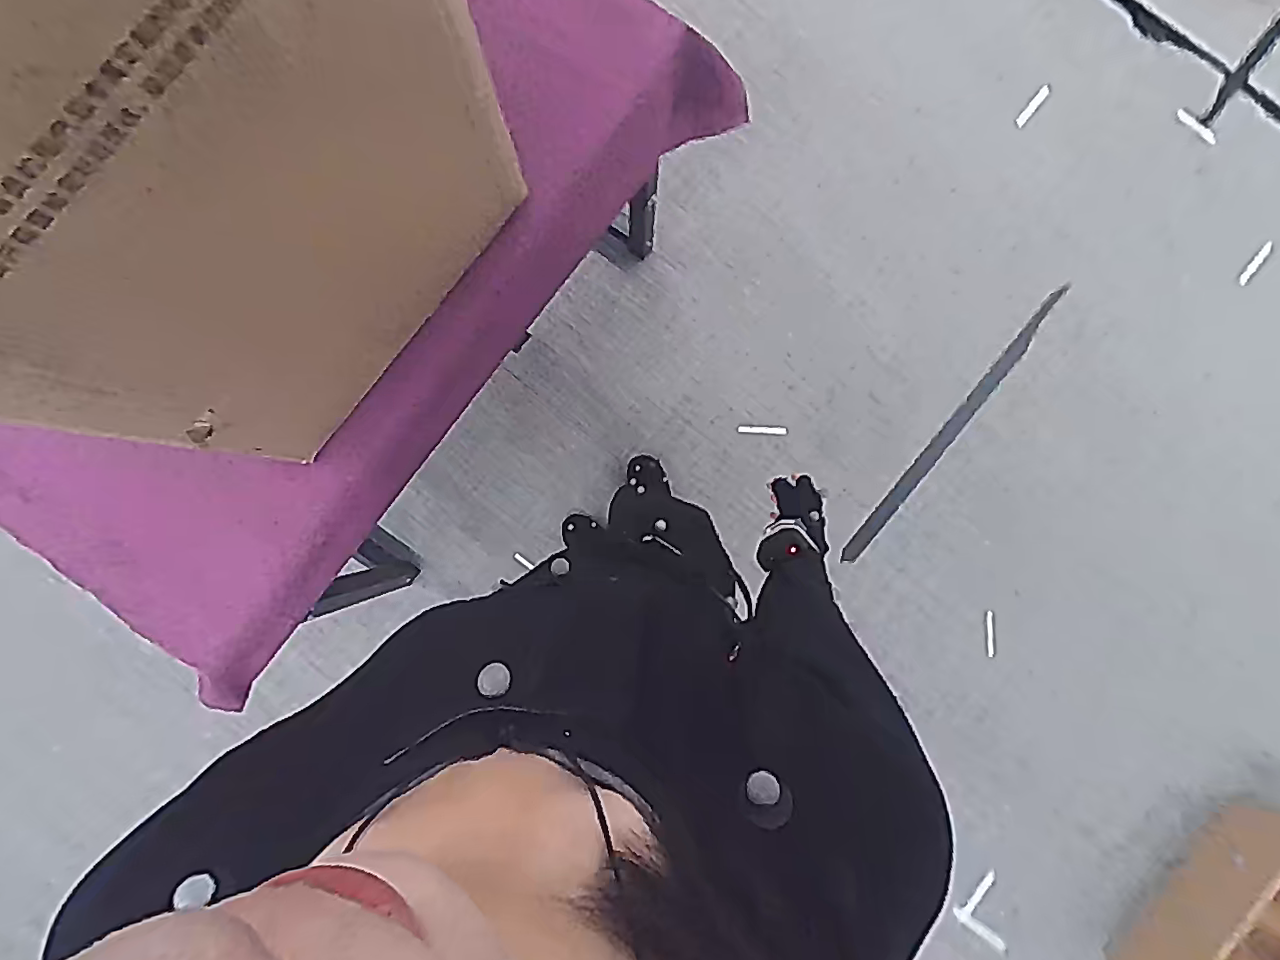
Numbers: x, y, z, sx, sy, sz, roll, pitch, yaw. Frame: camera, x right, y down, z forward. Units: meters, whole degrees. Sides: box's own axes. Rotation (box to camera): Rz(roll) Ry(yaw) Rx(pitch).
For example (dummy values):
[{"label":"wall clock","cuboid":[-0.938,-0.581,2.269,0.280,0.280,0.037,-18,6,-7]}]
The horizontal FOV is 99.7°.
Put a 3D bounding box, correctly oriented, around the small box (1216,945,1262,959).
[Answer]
[{"label":"small box","cuboid":[1.587,1.332,1.358,0.179,0.176,0.168,42,84,3]}]
